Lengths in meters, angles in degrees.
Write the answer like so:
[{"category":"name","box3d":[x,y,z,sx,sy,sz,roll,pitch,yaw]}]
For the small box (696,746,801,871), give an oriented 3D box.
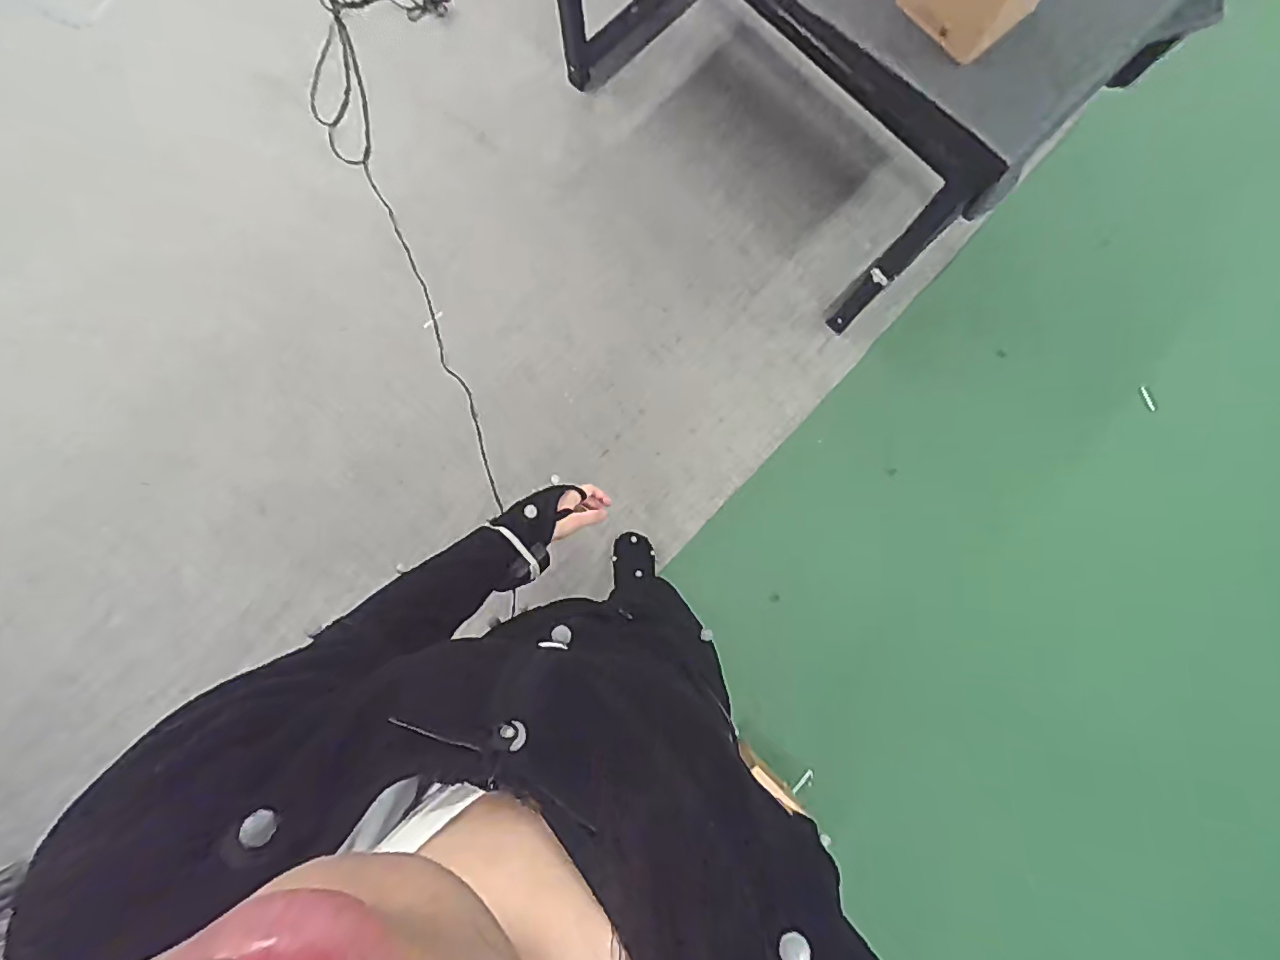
[{"category":"small box","box3d":[0.264,0.808,1.352,0.179,0.176,0.168,44,83,4]}]
